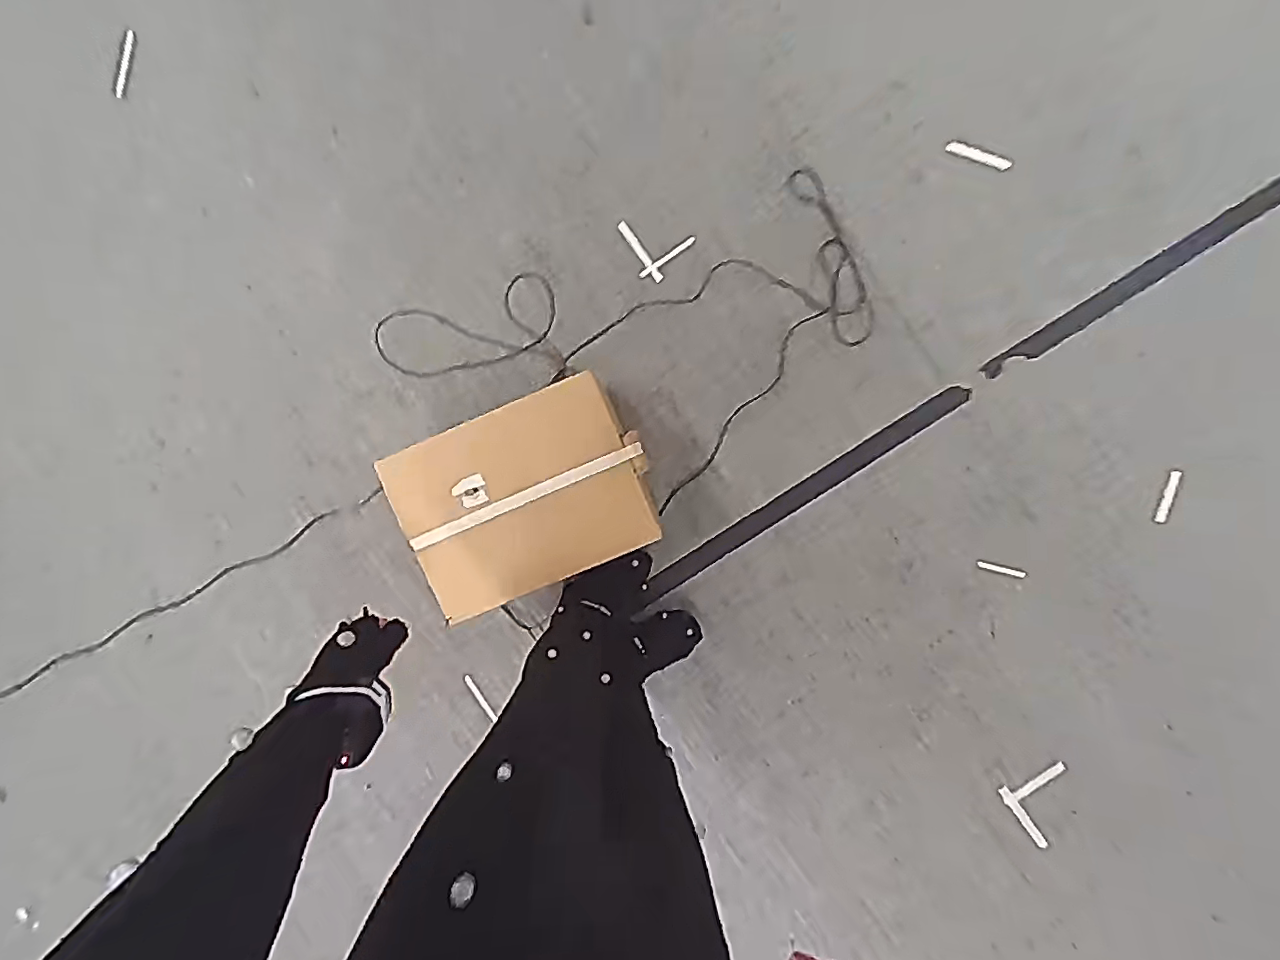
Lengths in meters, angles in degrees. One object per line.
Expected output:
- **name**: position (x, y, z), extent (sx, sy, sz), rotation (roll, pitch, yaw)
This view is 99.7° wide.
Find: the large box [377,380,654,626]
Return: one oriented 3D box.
- **large box**: position (-0.213, 0.029, 1.084), extent (0.408, 0.320, 0.320), rotation (-23, 94, 4)
